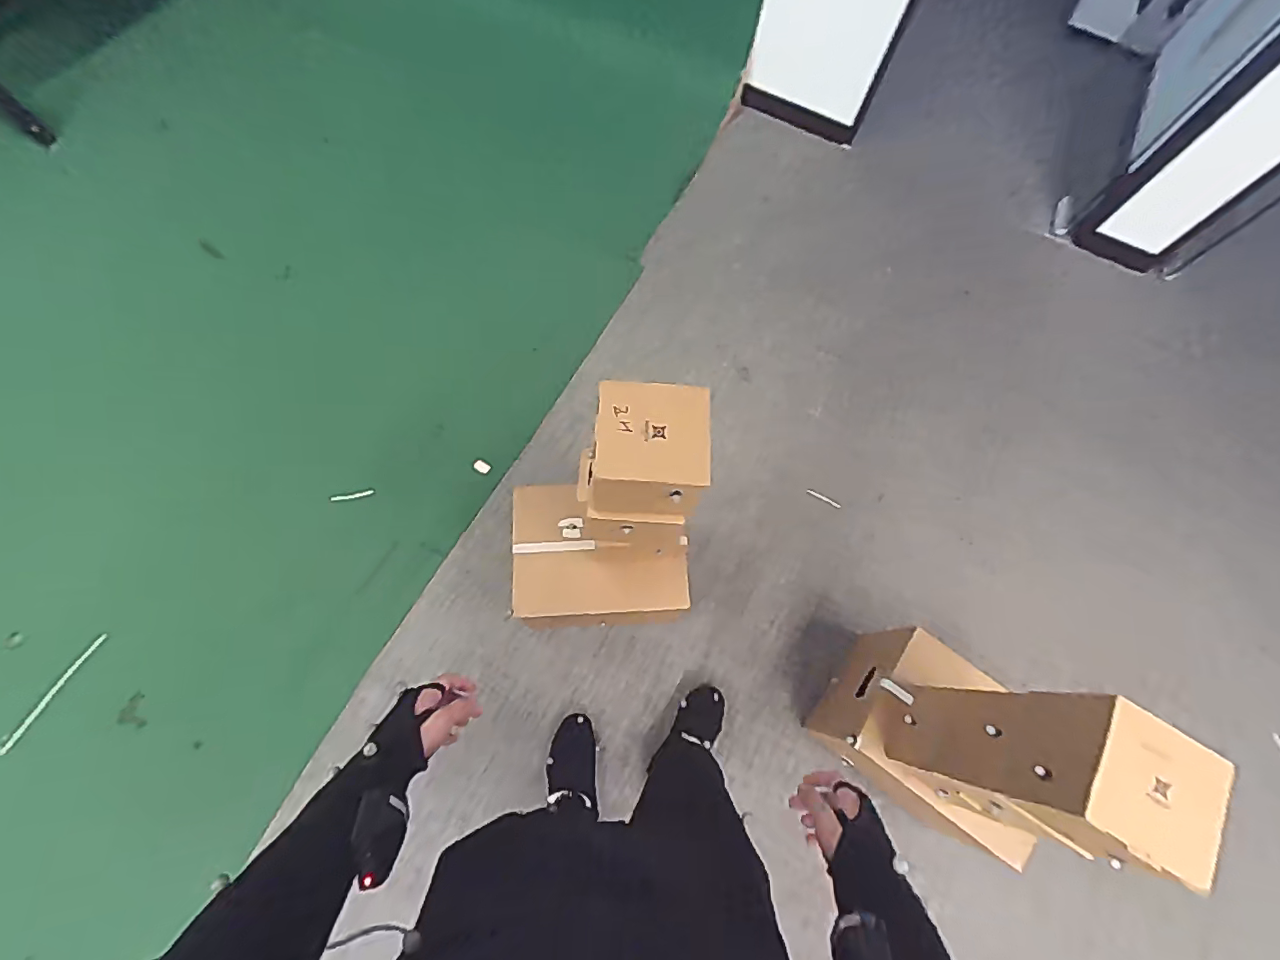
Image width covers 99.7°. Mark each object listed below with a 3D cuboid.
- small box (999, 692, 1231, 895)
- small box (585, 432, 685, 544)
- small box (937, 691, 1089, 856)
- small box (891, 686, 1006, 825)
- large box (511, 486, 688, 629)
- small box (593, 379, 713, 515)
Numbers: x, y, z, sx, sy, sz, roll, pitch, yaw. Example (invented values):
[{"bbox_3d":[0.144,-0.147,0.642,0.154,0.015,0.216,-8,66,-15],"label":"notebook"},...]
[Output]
[{"bbox_3d":[0.660,0.426,0.772,0.168,0.176,0.179,33,71,7],"label":"small box"},{"bbox_3d":[-0.009,0.021,1.036,0.179,0.176,0.168,4,70,-3],"label":"small box"},{"bbox_3d":[0.647,0.485,0.924,0.168,0.176,0.179,33,71,8],"label":"small box"},{"bbox_3d":[0.635,0.535,1.079,0.168,0.176,0.179,34,73,7],"label":"small box"},{"bbox_3d":[-0.104,0.206,1.400,0.408,0.320,0.320,-3,70,-4],"label":"large box"},{"bbox_3d":[0.016,-0.045,0.886,0.179,0.176,0.168,4,69,-3],"label":"small box"}]
